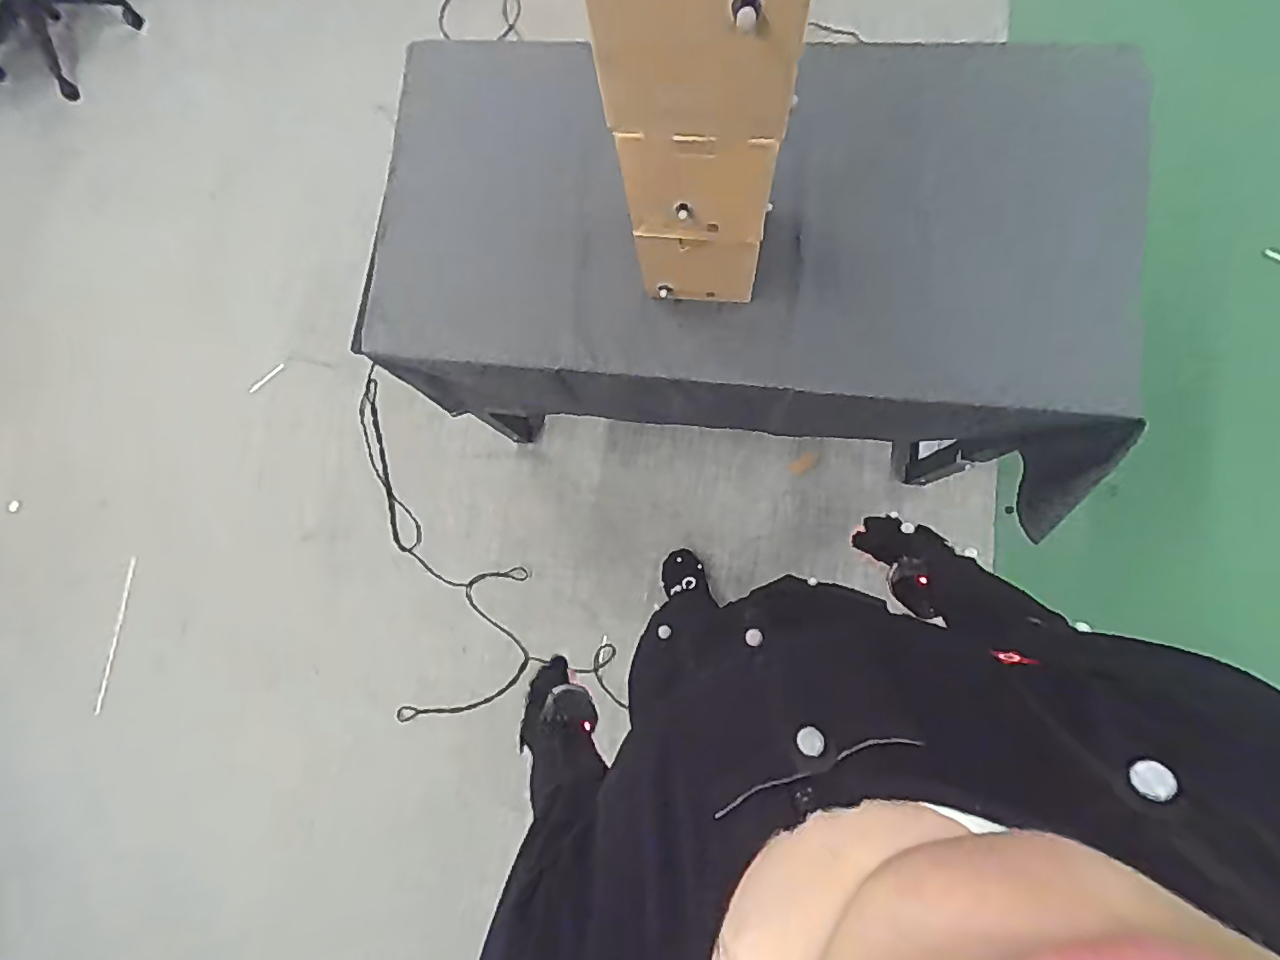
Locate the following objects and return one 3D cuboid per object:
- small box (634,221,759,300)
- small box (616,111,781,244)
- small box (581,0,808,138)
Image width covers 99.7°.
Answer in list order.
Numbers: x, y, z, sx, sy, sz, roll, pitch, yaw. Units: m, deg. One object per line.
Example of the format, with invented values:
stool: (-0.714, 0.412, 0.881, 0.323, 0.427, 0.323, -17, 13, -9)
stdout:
small box: (0.092, -0.382, 0.790, 0.168, 0.176, 0.179, 6, 80, 8)
small box: (0.074, -0.408, 0.631, 0.168, 0.176, 0.179, 6, 82, 8)
small box: (0.056, -0.432, 0.469, 0.179, 0.176, 0.168, 8, 81, 8)
